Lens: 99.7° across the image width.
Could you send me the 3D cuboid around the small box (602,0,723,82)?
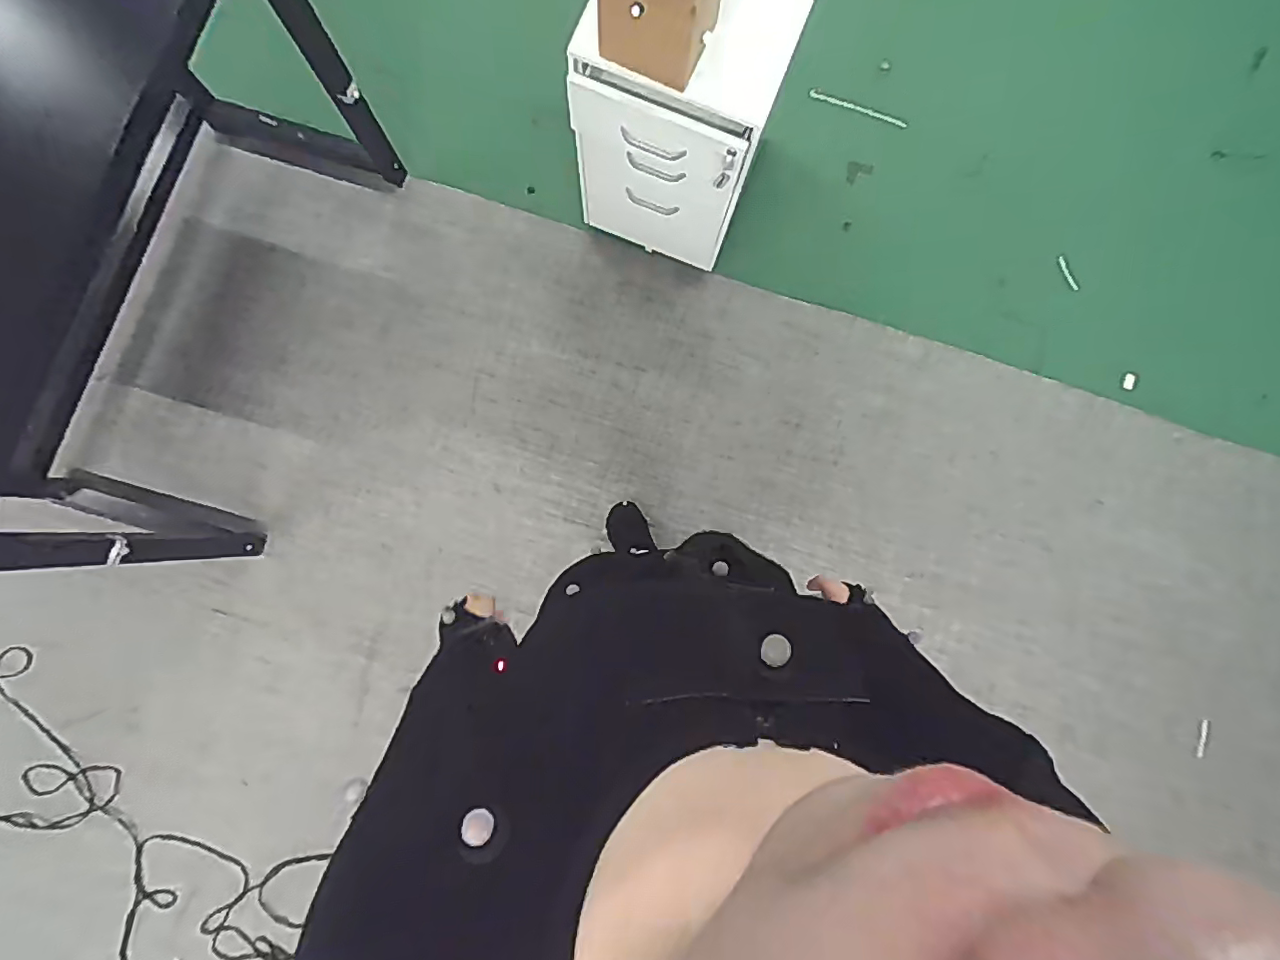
[{"bbox_3d":[0.041,-0.833,0.918,0.179,0.176,0.168,24,83,0],"label":"small box"}]
